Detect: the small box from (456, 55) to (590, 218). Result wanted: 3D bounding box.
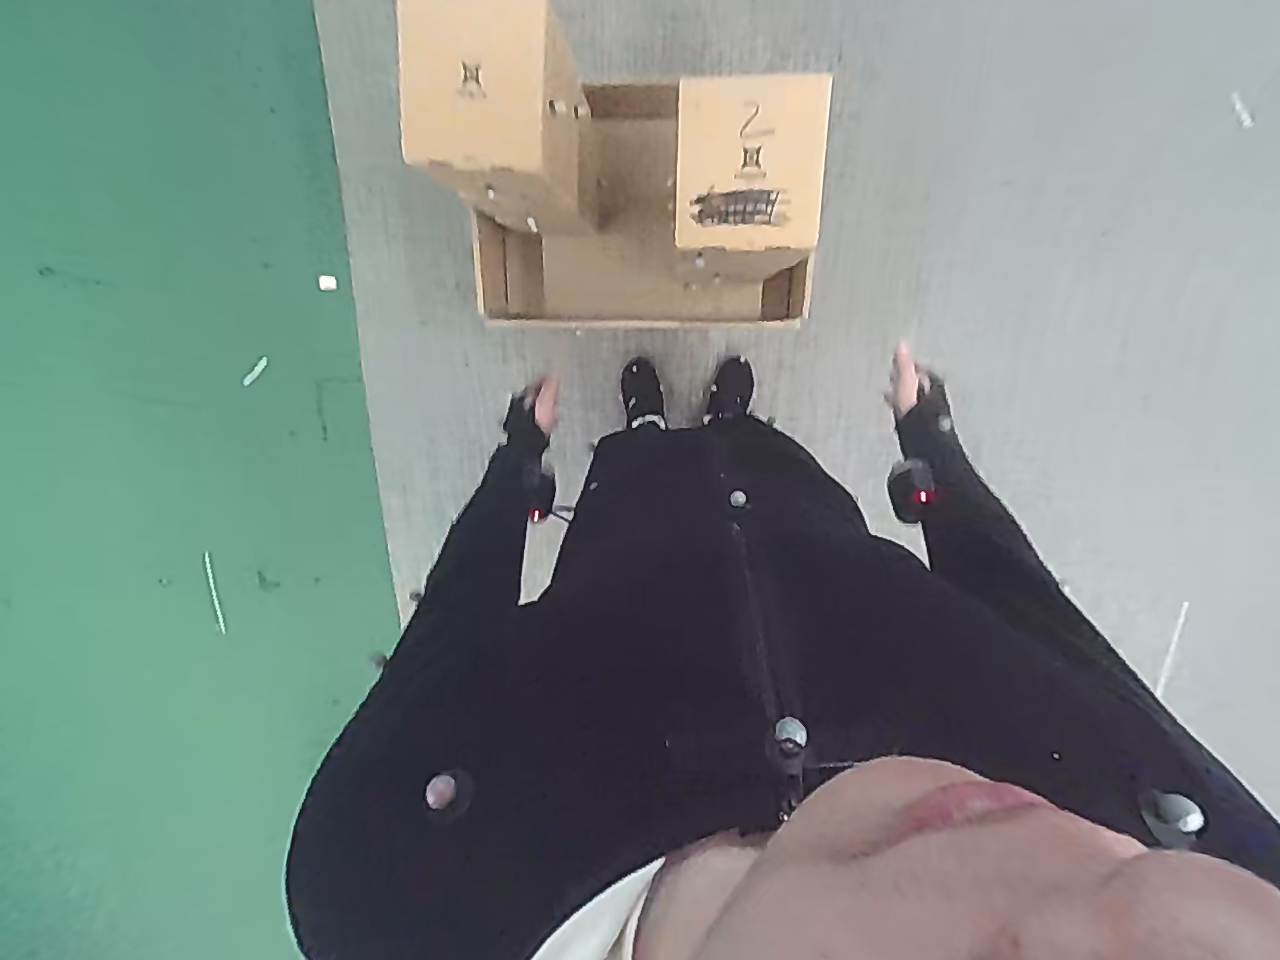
[{"bbox_3d":[-0.172,-0.520,0.831,0.168,0.176,0.179,5,107,3],"label":"small box"}]

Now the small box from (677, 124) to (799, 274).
[{"bbox_3d":[0.141,-0.422,0.838,0.168,0.176,0.179,0,106,5],"label":"small box"}]

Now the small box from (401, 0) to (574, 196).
[{"bbox_3d":[-0.179,-0.476,0.676,0.168,0.176,0.179,6,107,2],"label":"small box"}]

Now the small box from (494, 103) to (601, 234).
[{"bbox_3d":[-0.164,-0.563,0.989,0.168,0.176,0.179,4,106,3],"label":"small box"}]
